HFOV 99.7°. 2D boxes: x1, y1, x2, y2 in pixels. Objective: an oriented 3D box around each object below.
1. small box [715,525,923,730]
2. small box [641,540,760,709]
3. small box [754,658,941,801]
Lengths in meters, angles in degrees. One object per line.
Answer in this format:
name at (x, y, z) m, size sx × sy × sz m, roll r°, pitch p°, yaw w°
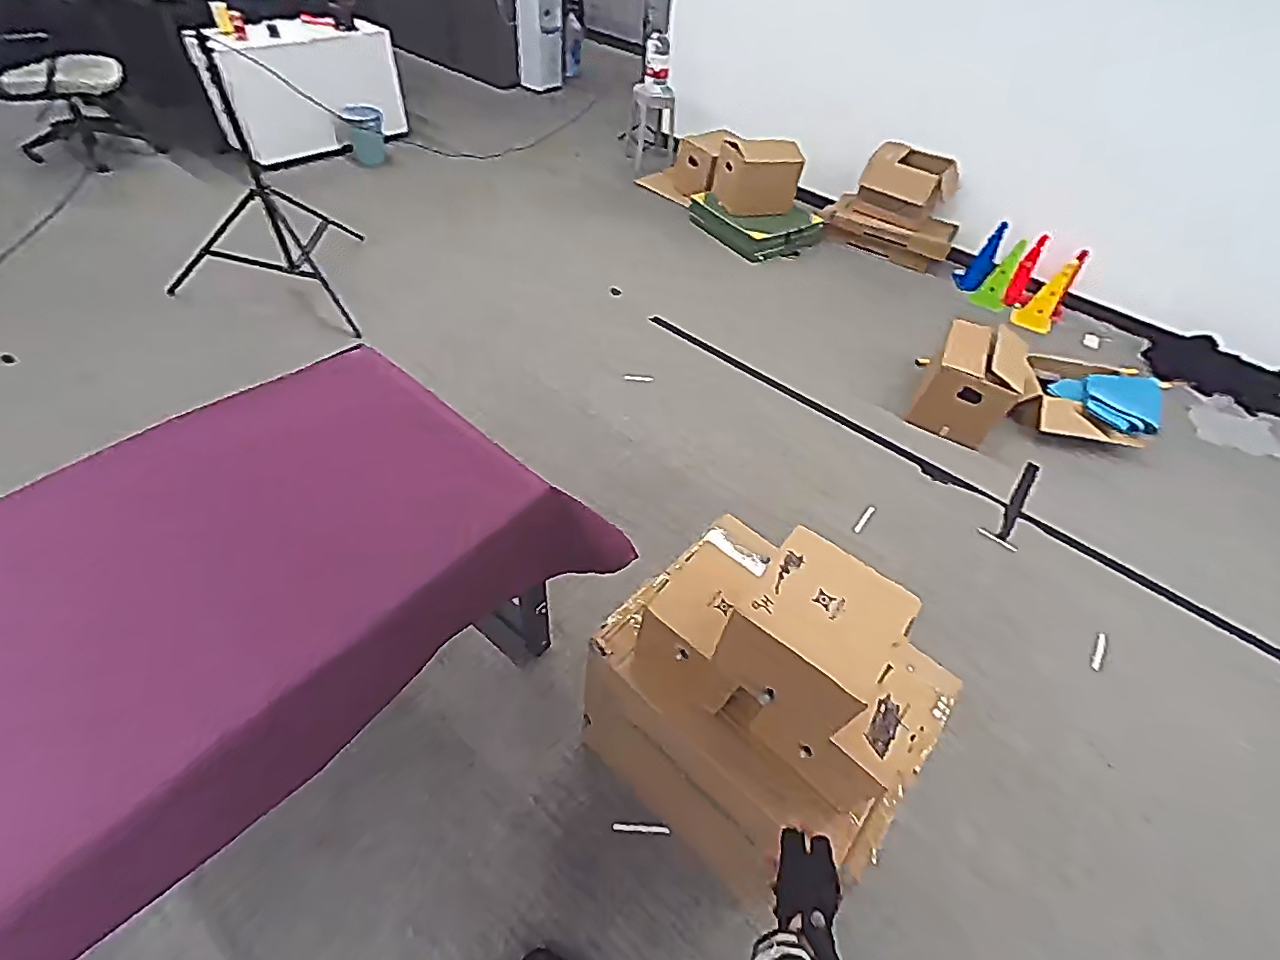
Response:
small box at (0.223, 0.199, 0.710) m, size 0.179 × 0.176 × 0.168 m, roll 34°, pitch 55°, yaw 21°
small box at (0.118, 0.238, 0.880) m, size 0.179 × 0.176 × 0.168 m, roll 36°, pitch 56°, yaw 20°
small box at (0.298, 0.346, 0.808) m, size 0.179 × 0.176 × 0.168 m, roll 37°, pitch 56°, yaw 25°
